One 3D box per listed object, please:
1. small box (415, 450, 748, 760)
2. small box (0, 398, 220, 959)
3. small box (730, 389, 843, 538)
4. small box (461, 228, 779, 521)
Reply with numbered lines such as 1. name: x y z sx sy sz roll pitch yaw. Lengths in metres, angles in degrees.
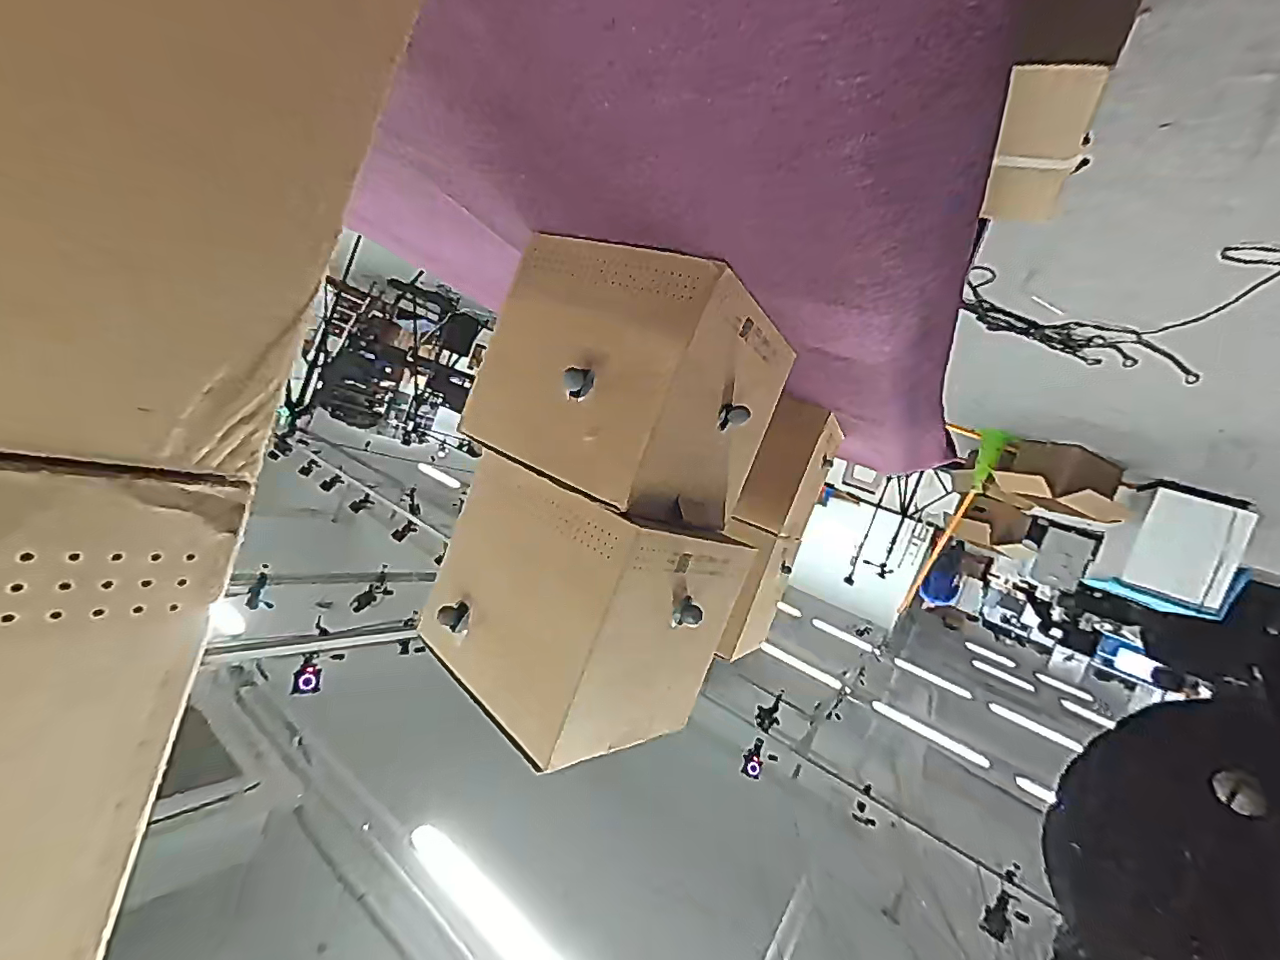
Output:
1. small box: -0.043 0.082 0.438 0.179 0.176 0.168 24 -176 39
2. small box: -0.227 0.025 0.108 0.179 0.176 0.168 24 -175 31
3. small box: 0.159 -0.033 0.748 0.179 0.176 0.168 22 -178 27
4. small box: -0.005 -0.081 0.436 0.179 0.176 0.168 23 -177 33
